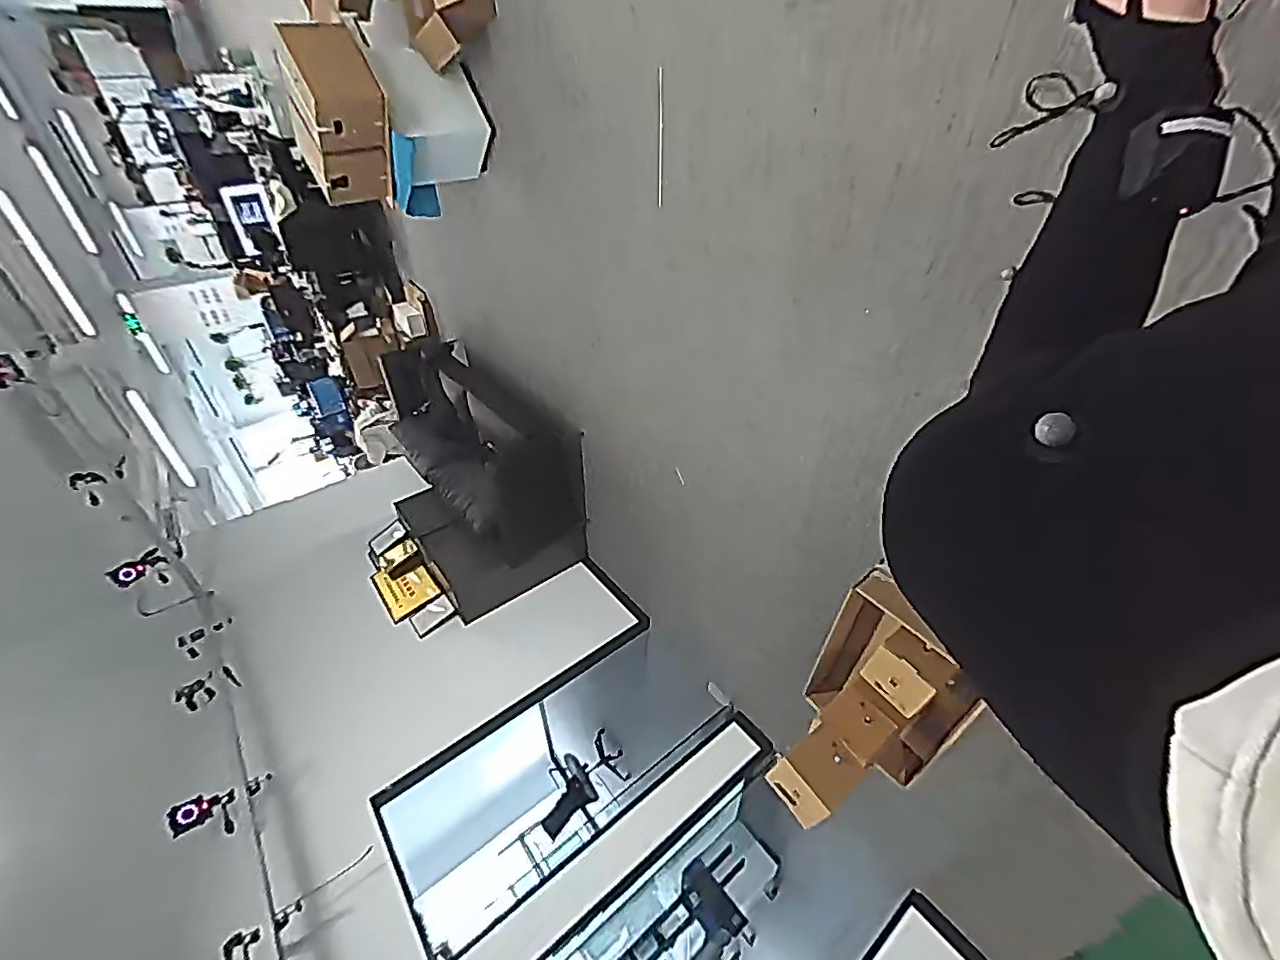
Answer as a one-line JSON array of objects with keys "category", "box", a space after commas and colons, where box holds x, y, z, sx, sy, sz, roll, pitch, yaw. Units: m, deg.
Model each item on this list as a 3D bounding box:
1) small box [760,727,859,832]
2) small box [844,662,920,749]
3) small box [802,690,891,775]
[{"category": "small box", "box": [0.465, 0.818, 1.483, 0.168, 0.176, 0.179, 47, 144, 29]}, {"category": "small box", "box": [0.718, 0.697, 1.649, 0.168, 0.176, 0.179, 39, 141, 36]}, {"category": "small box", "box": [0.591, 0.753, 1.566, 0.168, 0.176, 0.179, 40, 140, 37]}]
